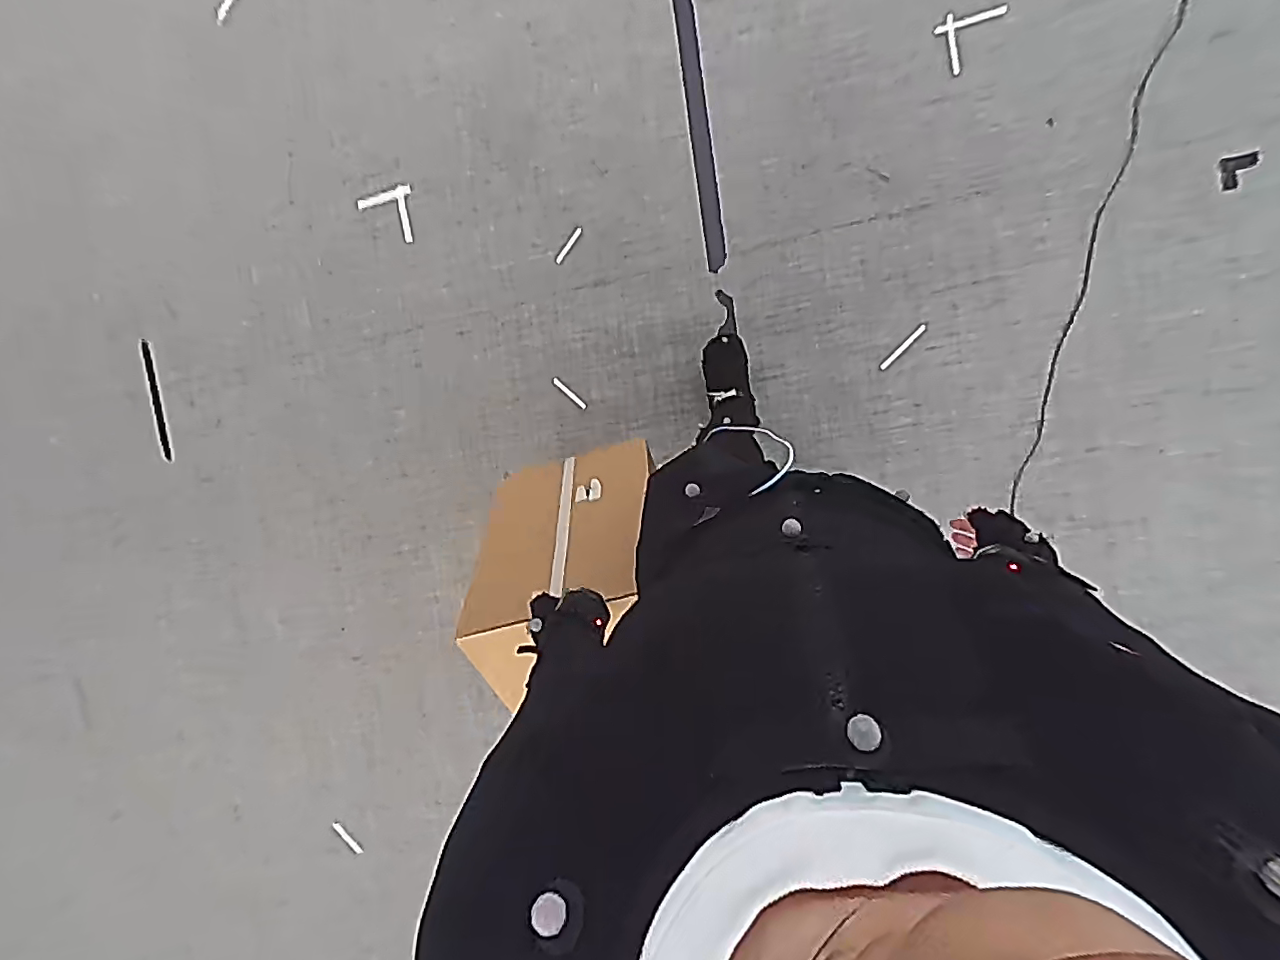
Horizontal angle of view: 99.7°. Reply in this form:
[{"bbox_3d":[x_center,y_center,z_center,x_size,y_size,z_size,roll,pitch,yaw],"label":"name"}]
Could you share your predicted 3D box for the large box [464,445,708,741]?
[{"bbox_3d":[-0.079,0.197,1.013,0.320,0.408,0.320,-14,123,8],"label":"large box"}]
